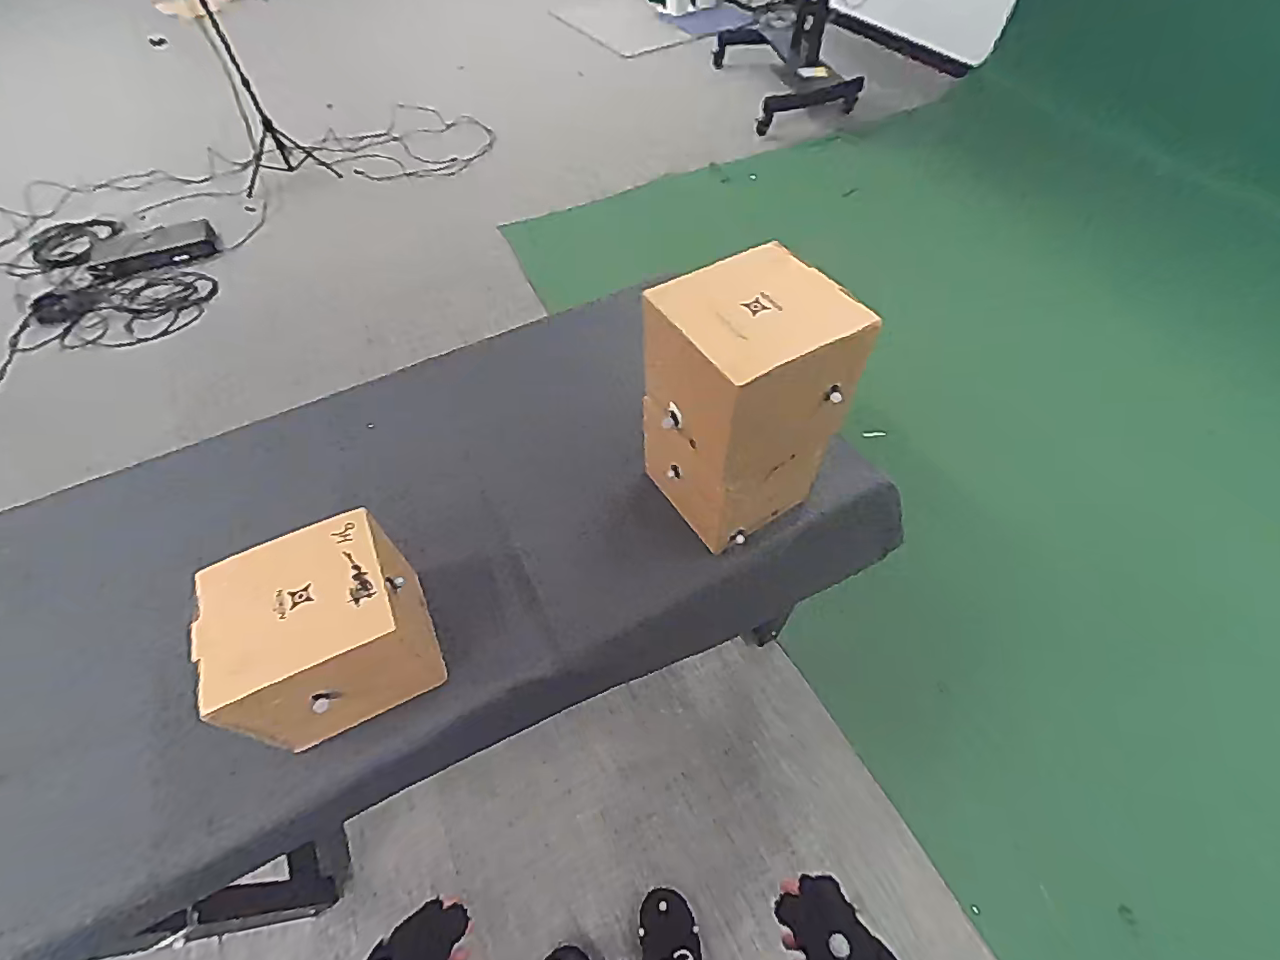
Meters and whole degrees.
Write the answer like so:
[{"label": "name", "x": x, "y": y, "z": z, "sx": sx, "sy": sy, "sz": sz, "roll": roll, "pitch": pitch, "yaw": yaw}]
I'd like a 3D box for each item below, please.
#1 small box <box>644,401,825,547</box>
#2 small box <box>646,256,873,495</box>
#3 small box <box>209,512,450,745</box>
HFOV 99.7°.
[{"label": "small box", "x": 0.121, "y": -0.029, "z": 0.752, "sx": 0.168, "sy": 0.176, "sz": 0.179, "roll": -29, "pitch": 58, "yaw": -17}, {"label": "small box", "x": 0.121, "y": -0.116, "z": 0.616, "sx": 0.179, "sy": 0.176, "sz": 0.168, "roll": -28, "pitch": 57, "yaw": -15}, {"label": "small box", "x": -0.344, "y": 0.174, "z": 0.618, "sx": 0.179, "sy": 0.176, "sz": 0.168, "roll": -23, "pitch": 56, "yaw": -15}]
